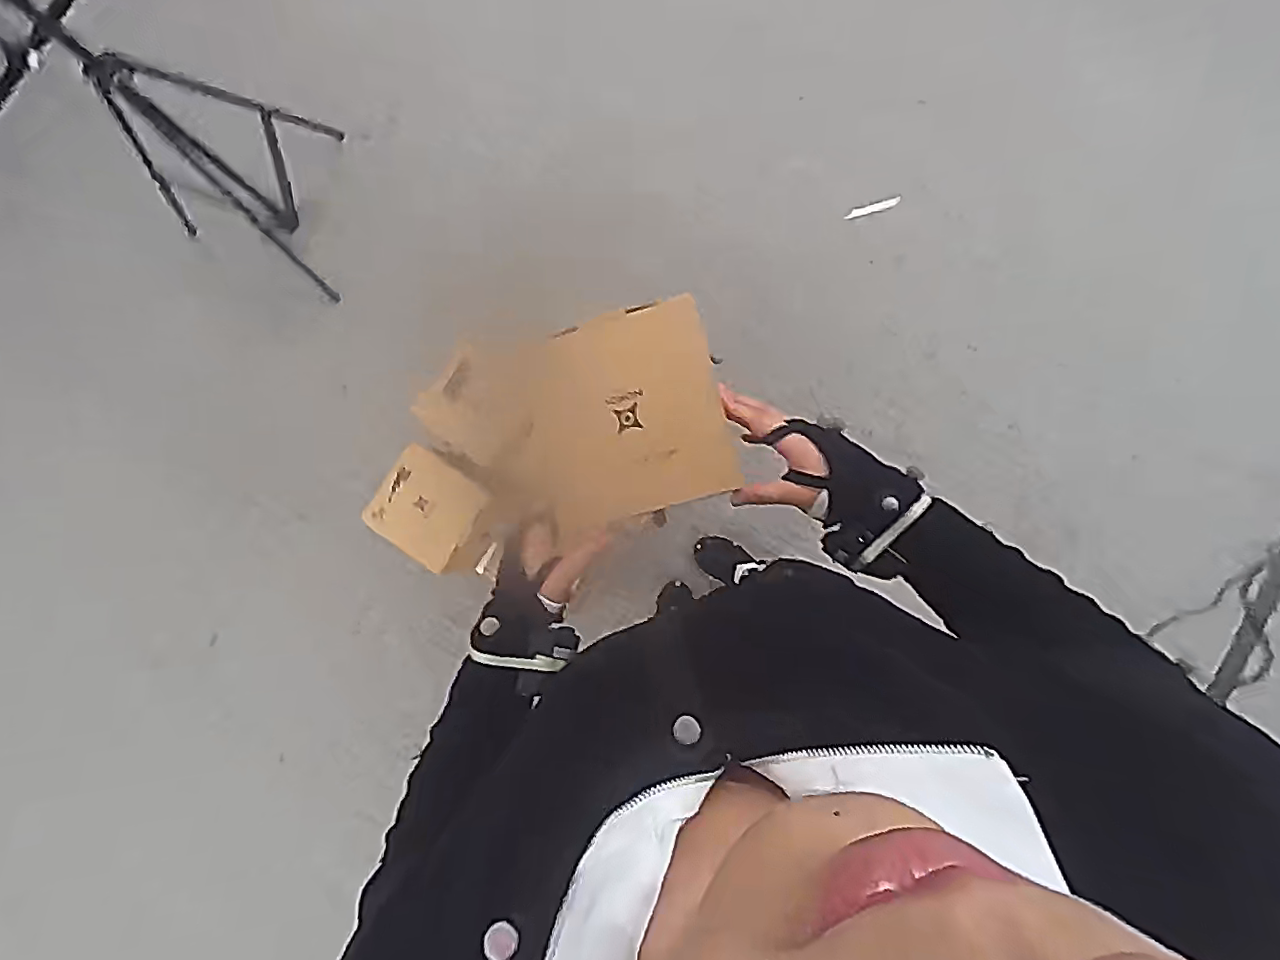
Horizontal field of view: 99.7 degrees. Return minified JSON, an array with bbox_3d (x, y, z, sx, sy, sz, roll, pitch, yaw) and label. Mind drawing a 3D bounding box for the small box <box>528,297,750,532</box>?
[{"bbox_3d":[0.007,-0.052,0.541,0.168,0.176,0.179,-13,86,9],"label":"small box"}]
